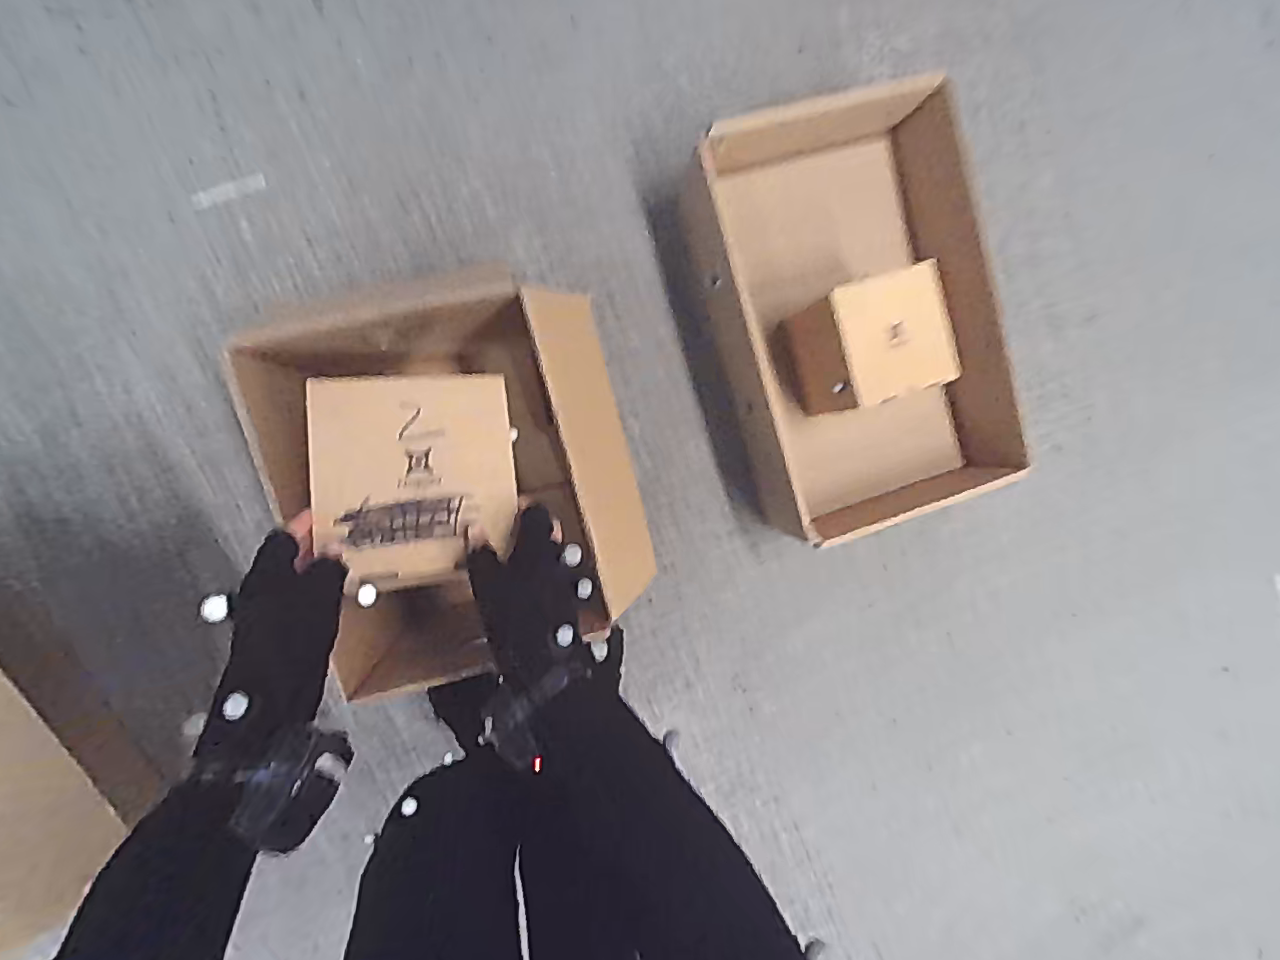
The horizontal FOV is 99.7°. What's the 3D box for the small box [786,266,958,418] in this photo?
[{"bbox_3d":[0.353,-0.207,0.853,0.168,0.176,0.179,-19,96,-7],"label":"small box"}]
